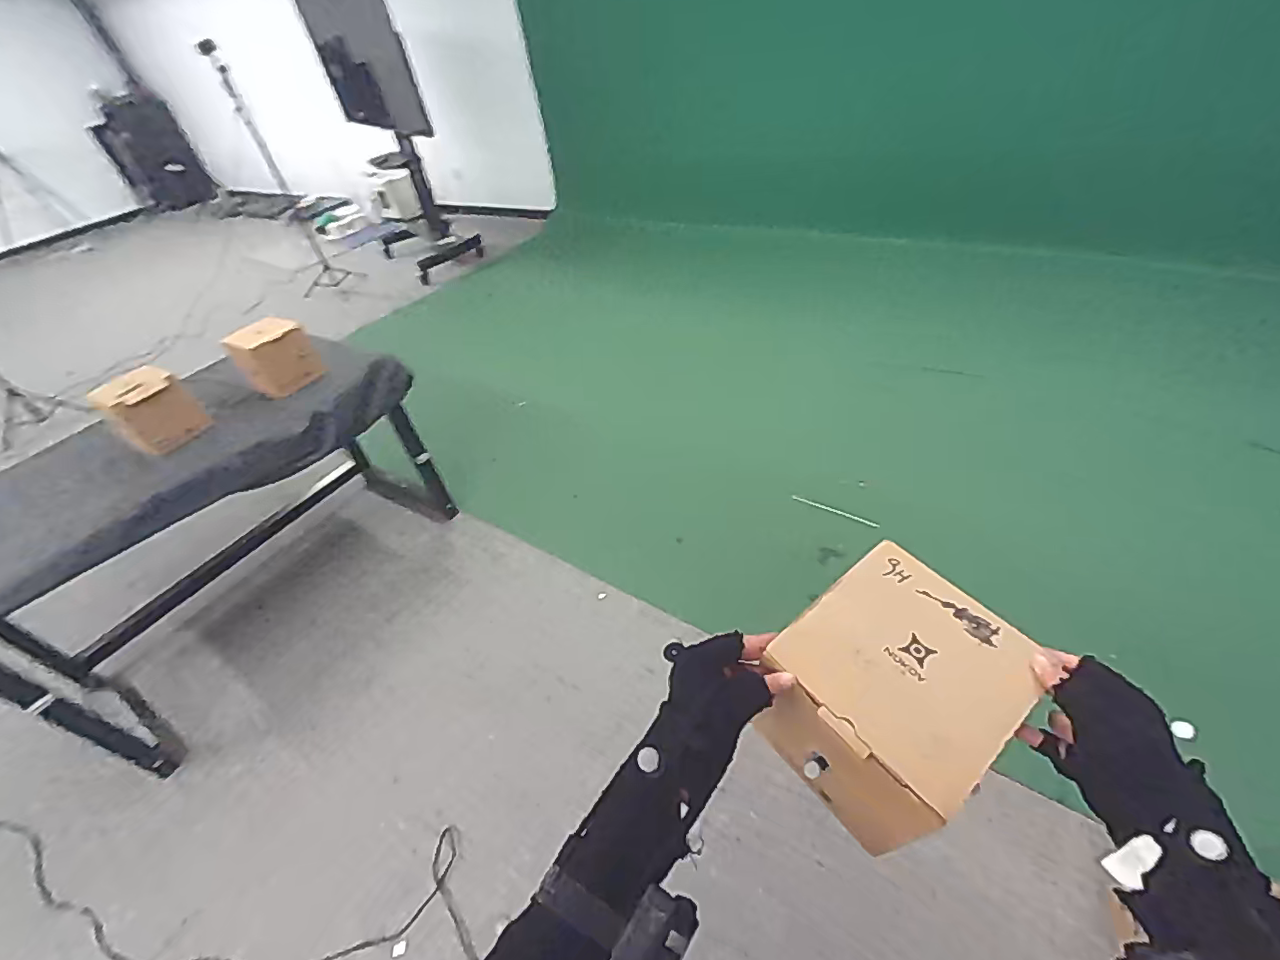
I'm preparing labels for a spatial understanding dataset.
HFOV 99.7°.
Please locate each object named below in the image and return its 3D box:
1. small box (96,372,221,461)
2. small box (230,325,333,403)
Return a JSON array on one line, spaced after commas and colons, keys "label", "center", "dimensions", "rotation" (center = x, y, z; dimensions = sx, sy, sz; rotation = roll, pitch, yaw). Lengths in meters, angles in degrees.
[{"label": "small box", "center": [-1.323, -0.174, 1.499], "dimensions": [0.179, 0.176, 0.168], "rotation": [15, 47, 27]}, {"label": "small box", "center": [-1.084, -0.353, 1.649], "dimensions": [0.179, 0.176, 0.168], "rotation": [15, 47, 29]}]
